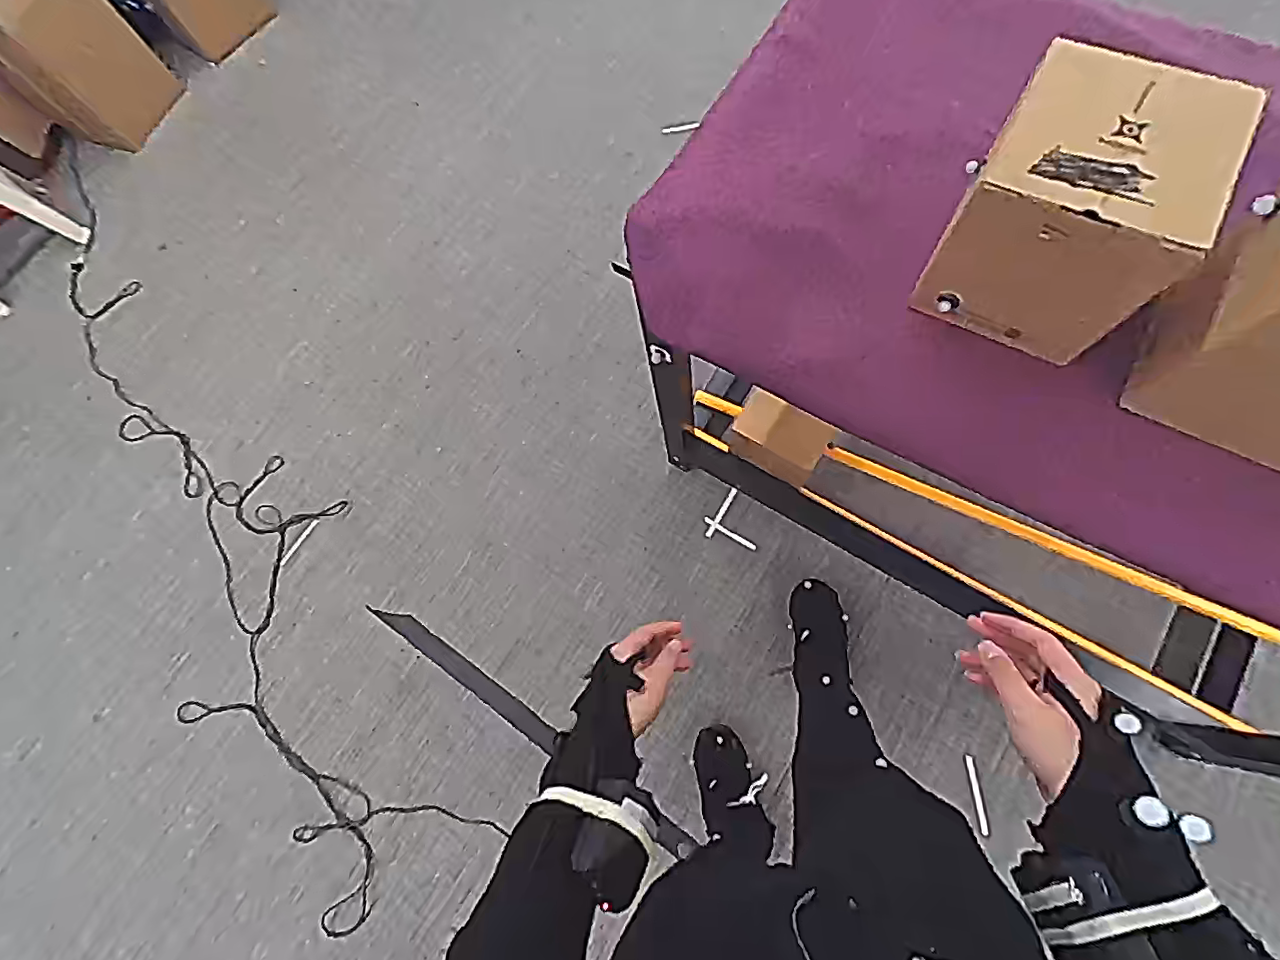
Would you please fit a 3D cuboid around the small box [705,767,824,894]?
[{"bbox_3d":[0.221,0.643,1.006,0.179,0.176,0.168,-6,69,2],"label":"small box"}]

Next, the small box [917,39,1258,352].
[{"bbox_3d":[0.393,-0.253,0.512,0.168,0.176,0.179,28,77,13],"label":"small box"}]
